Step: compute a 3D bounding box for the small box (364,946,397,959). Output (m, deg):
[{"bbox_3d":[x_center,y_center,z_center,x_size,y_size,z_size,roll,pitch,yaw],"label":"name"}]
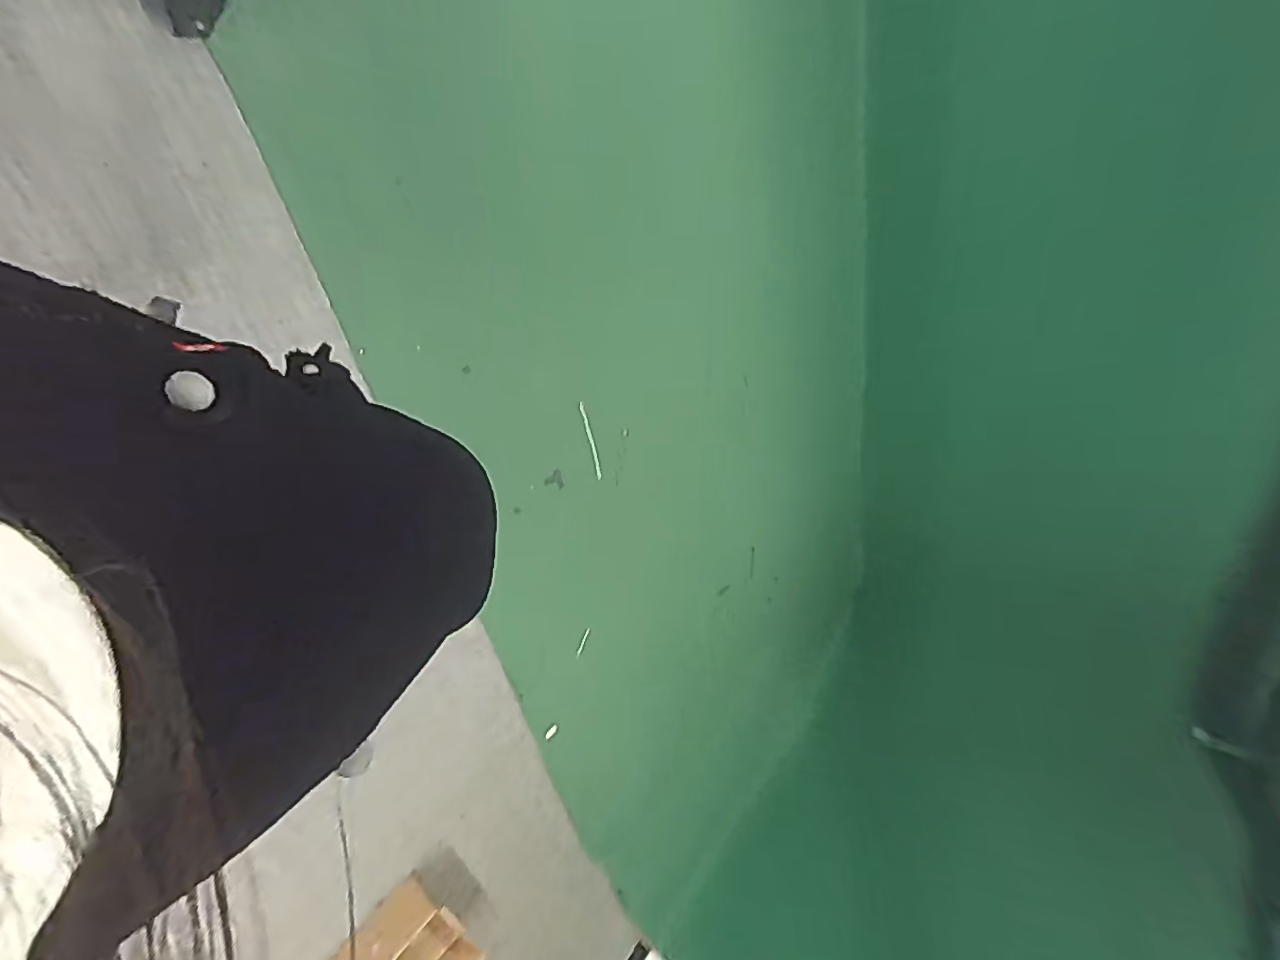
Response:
[{"bbox_3d":[-0.809,1.591,1.644,0.179,0.176,0.168,-40,129,-33],"label":"small box"}]
